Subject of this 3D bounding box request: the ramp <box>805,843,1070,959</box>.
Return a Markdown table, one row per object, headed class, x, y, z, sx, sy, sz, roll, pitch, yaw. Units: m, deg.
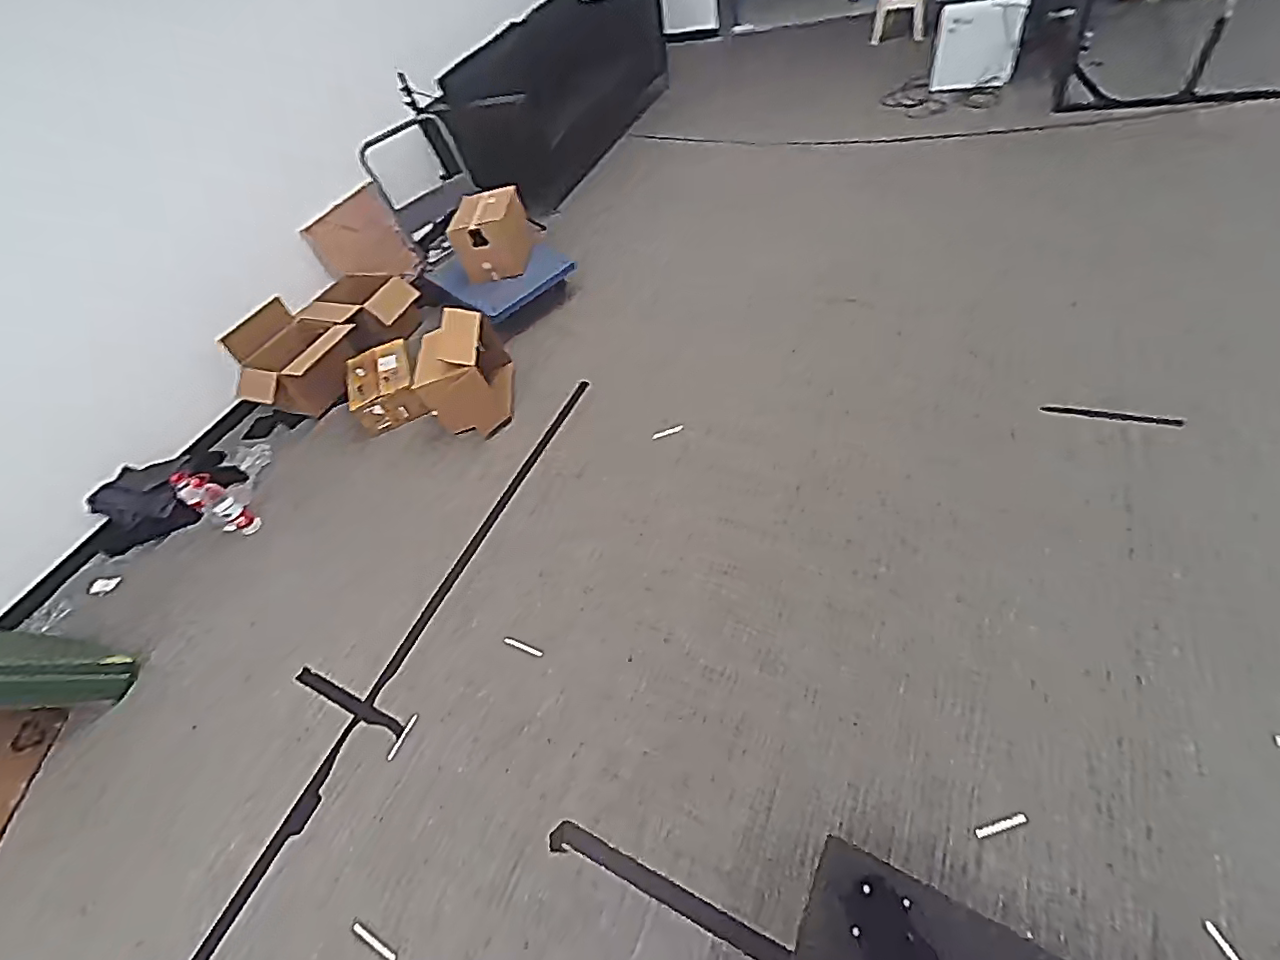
| class | x | y | z | sx | sy | sz | roll | pitch | yaw |
| --- | --- | --- | --- | --- | --- | --- | --- | --- | --- |
| ramp | 0.759 | 1.109 | 0.892 | 0.991 | 0.206 | 0.509 | 12 | 55 | 25 |
